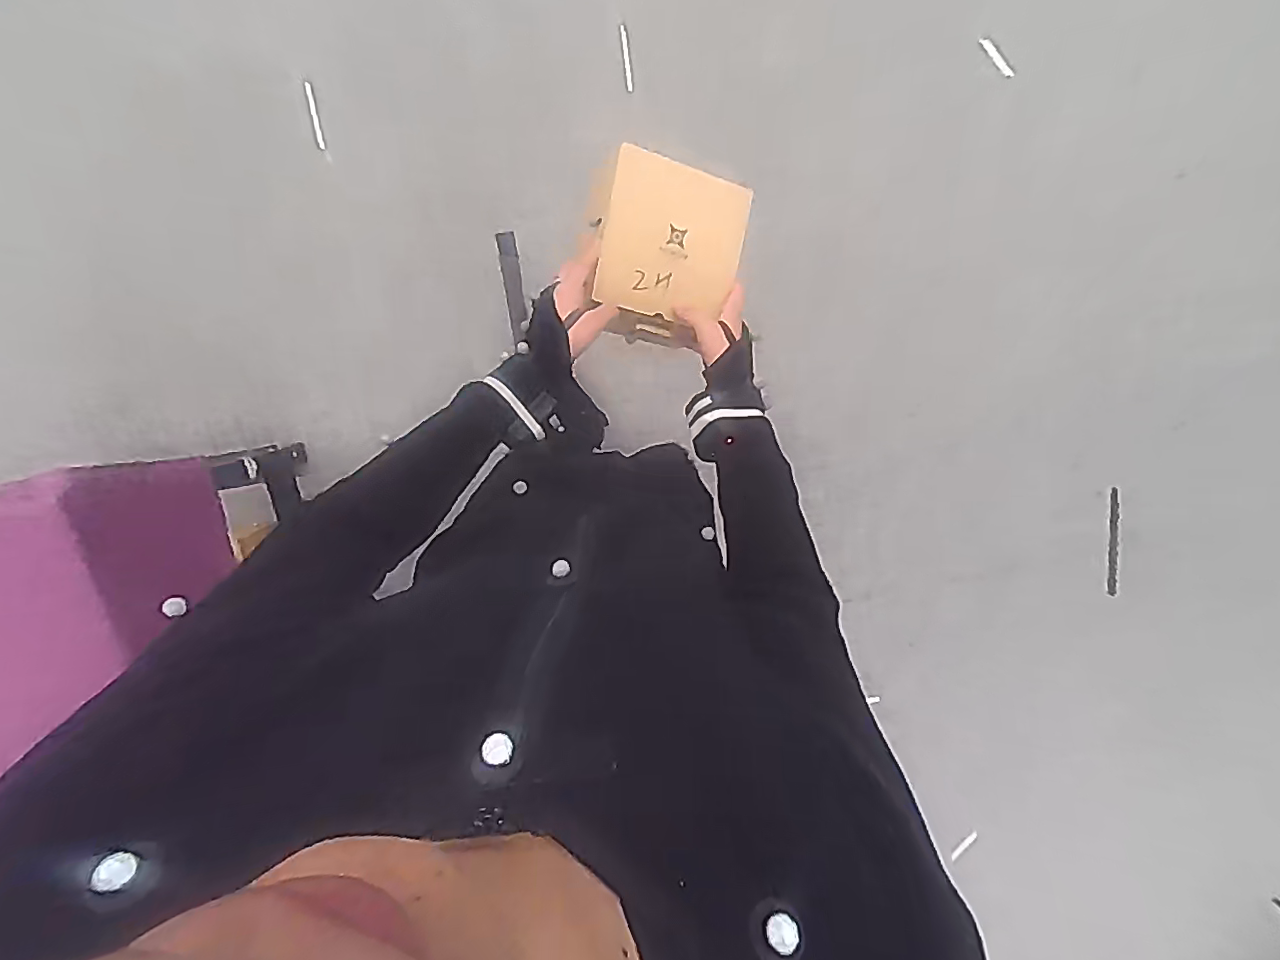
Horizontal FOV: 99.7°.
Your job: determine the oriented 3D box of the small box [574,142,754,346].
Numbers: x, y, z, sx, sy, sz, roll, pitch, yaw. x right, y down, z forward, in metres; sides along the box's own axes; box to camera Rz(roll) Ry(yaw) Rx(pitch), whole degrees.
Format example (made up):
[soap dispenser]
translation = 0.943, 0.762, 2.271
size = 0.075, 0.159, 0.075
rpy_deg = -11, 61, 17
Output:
[small box]
translation = 0.019, -0.282, 0.693
size = 0.168, 0.176, 0.179
rpy_deg = 11, 96, -17
